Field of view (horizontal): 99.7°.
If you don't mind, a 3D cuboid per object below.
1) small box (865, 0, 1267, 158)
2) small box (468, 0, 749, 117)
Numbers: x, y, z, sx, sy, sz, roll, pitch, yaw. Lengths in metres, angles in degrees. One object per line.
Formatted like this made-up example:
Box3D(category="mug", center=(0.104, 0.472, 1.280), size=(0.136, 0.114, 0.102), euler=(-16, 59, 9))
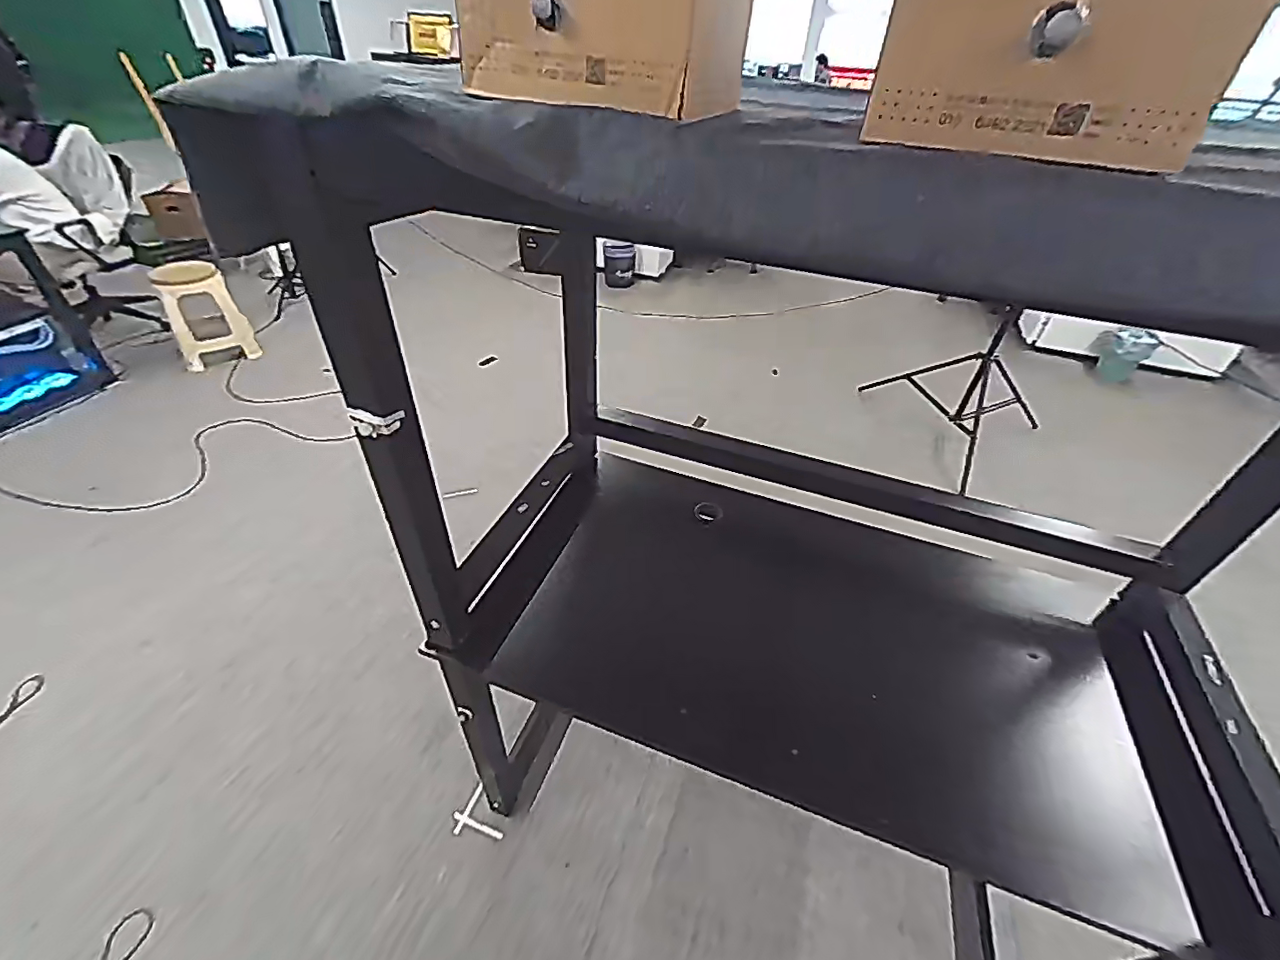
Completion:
Box3D(category="small box", center=(0.243, -0.302, 0.317), size=(0.168, 0.176, 0.179), euler=(16, 39, 15))
Box3D(category="small box", center=(-0.014, -0.370, 0.380), size=(0.168, 0.176, 0.179), euler=(16, 40, 12))
